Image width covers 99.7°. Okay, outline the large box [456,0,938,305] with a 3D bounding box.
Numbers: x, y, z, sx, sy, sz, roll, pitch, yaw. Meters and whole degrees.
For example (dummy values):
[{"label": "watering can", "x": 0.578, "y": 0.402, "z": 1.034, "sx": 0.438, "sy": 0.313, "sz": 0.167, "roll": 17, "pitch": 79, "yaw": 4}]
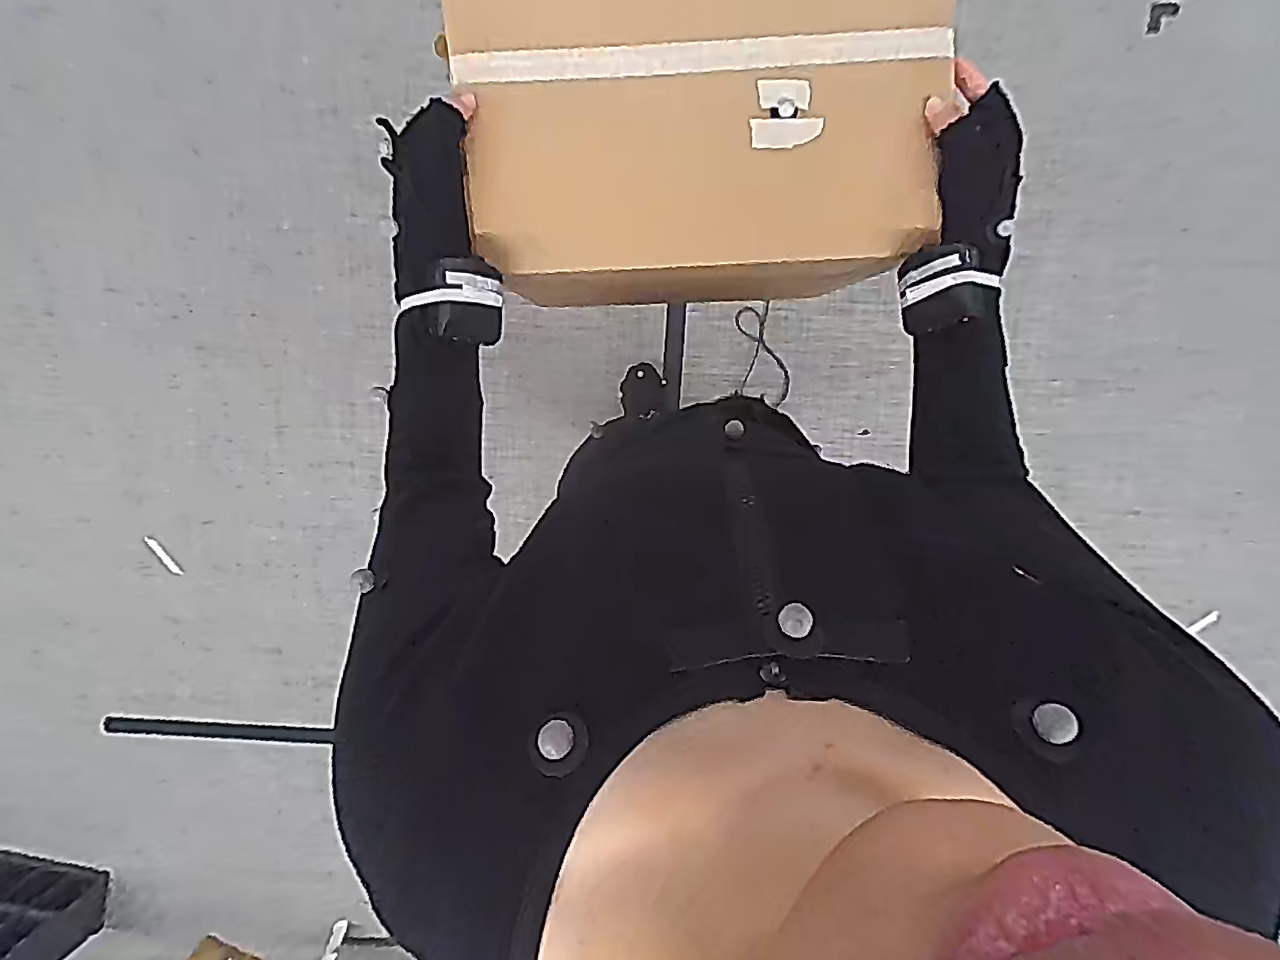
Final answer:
[{"label": "large box", "x": 0.046, "y": -0.381, "z": 0.599, "sx": 0.408, "sy": 0.320, "sz": 0.320, "roll": -3, "pitch": 103, "yaw": 0}]
